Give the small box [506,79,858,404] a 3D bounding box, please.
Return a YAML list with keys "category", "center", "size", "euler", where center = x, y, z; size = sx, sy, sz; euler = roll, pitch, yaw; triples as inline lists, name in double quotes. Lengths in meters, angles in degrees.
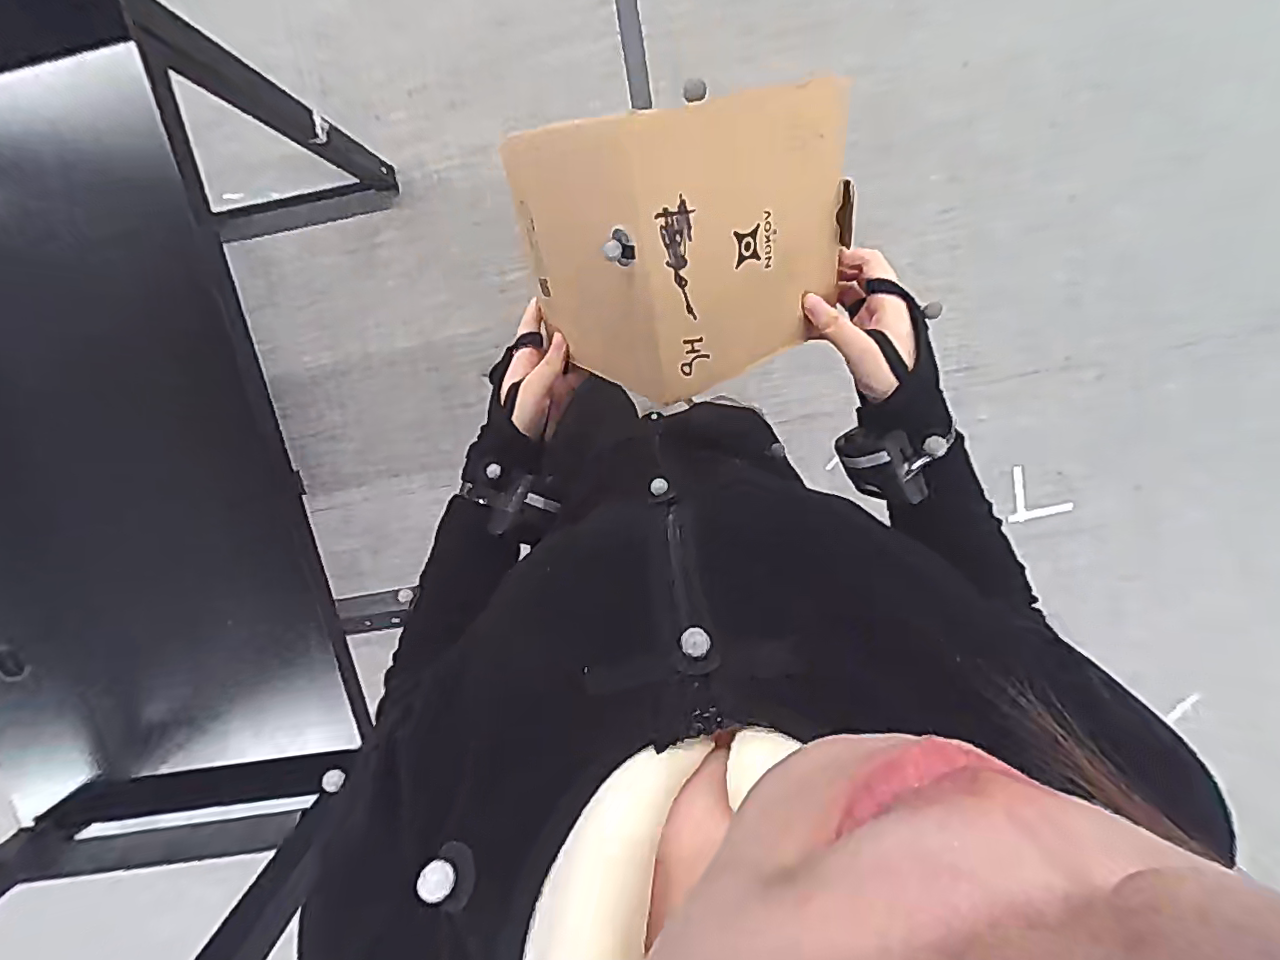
- category: "small box"
  center: [0.029, -0.180, 0.399]
  size: [0.179, 0.176, 0.168]
  euler: [-27, 127, -26]
